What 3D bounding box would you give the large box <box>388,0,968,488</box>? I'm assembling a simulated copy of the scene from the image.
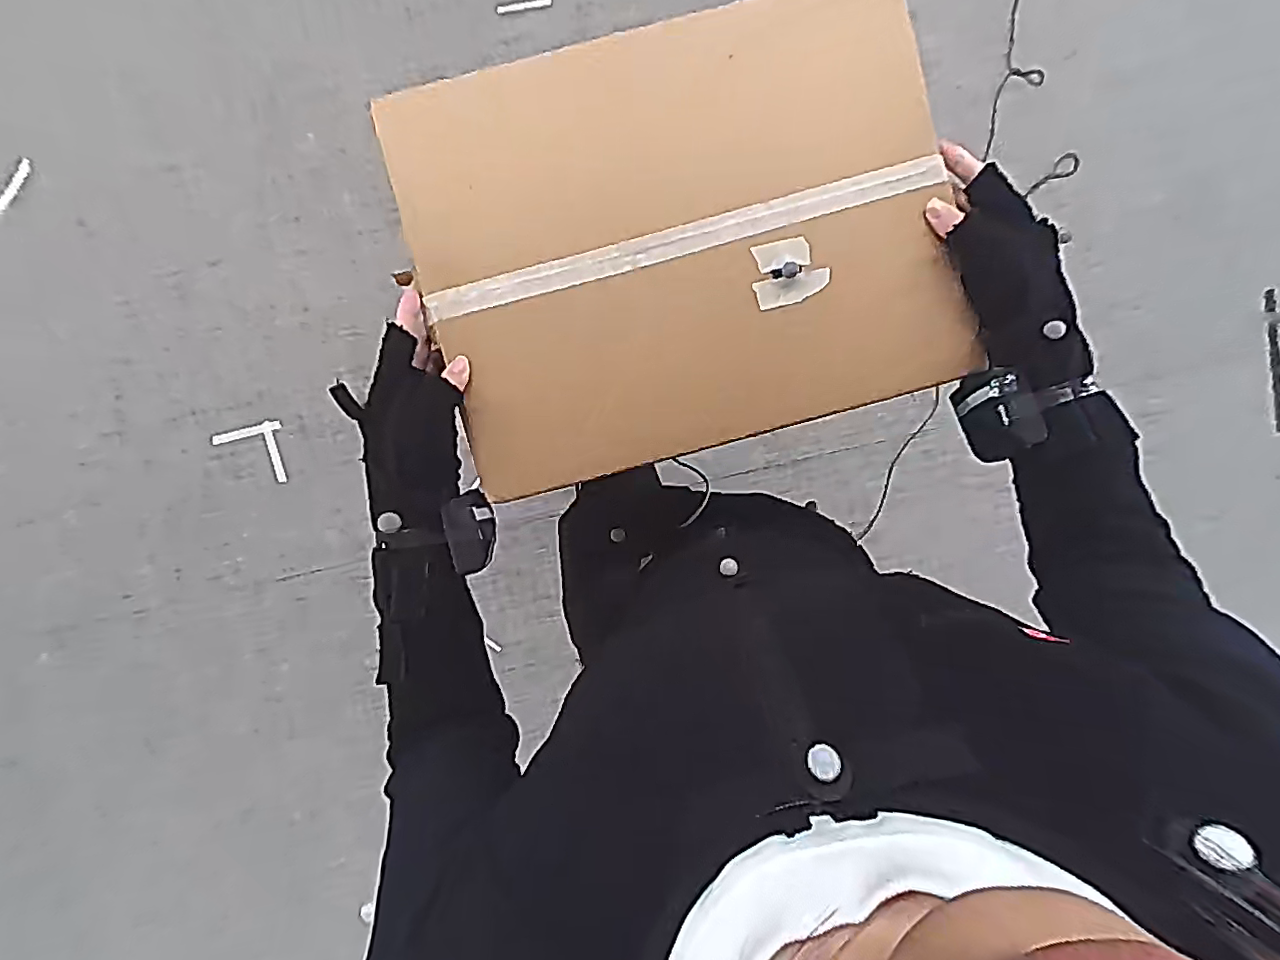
[{"bbox_3d":[0.030,-0.201,0.573,0.408,0.320,0.320,-16,95,-1],"label":"large box"}]
